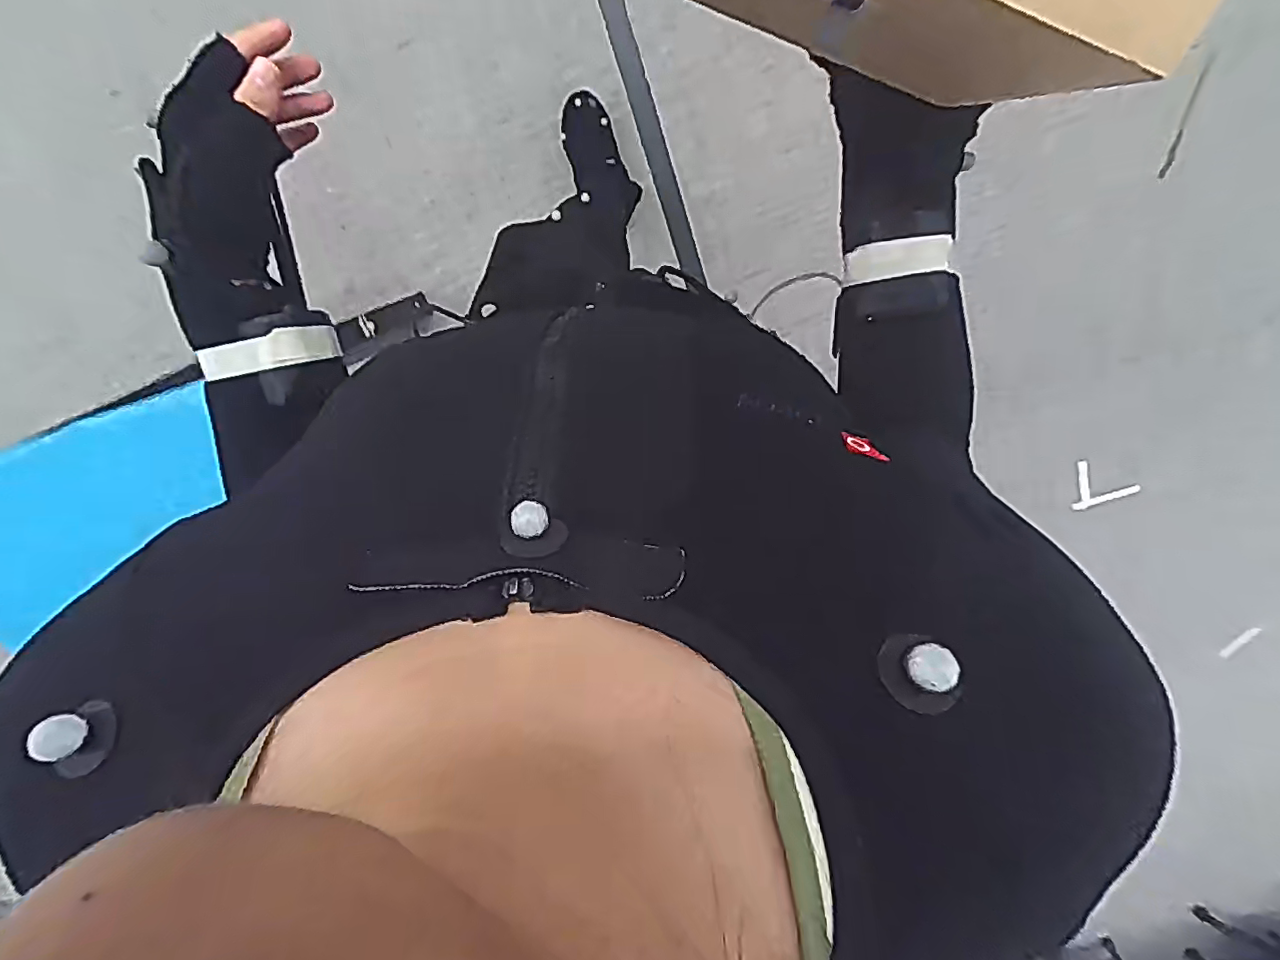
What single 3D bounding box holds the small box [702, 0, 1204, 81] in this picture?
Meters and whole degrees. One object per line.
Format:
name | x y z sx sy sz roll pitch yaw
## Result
small box | 0.119 -0.273 0.199 0.179 0.176 0.168 14 121 -6
